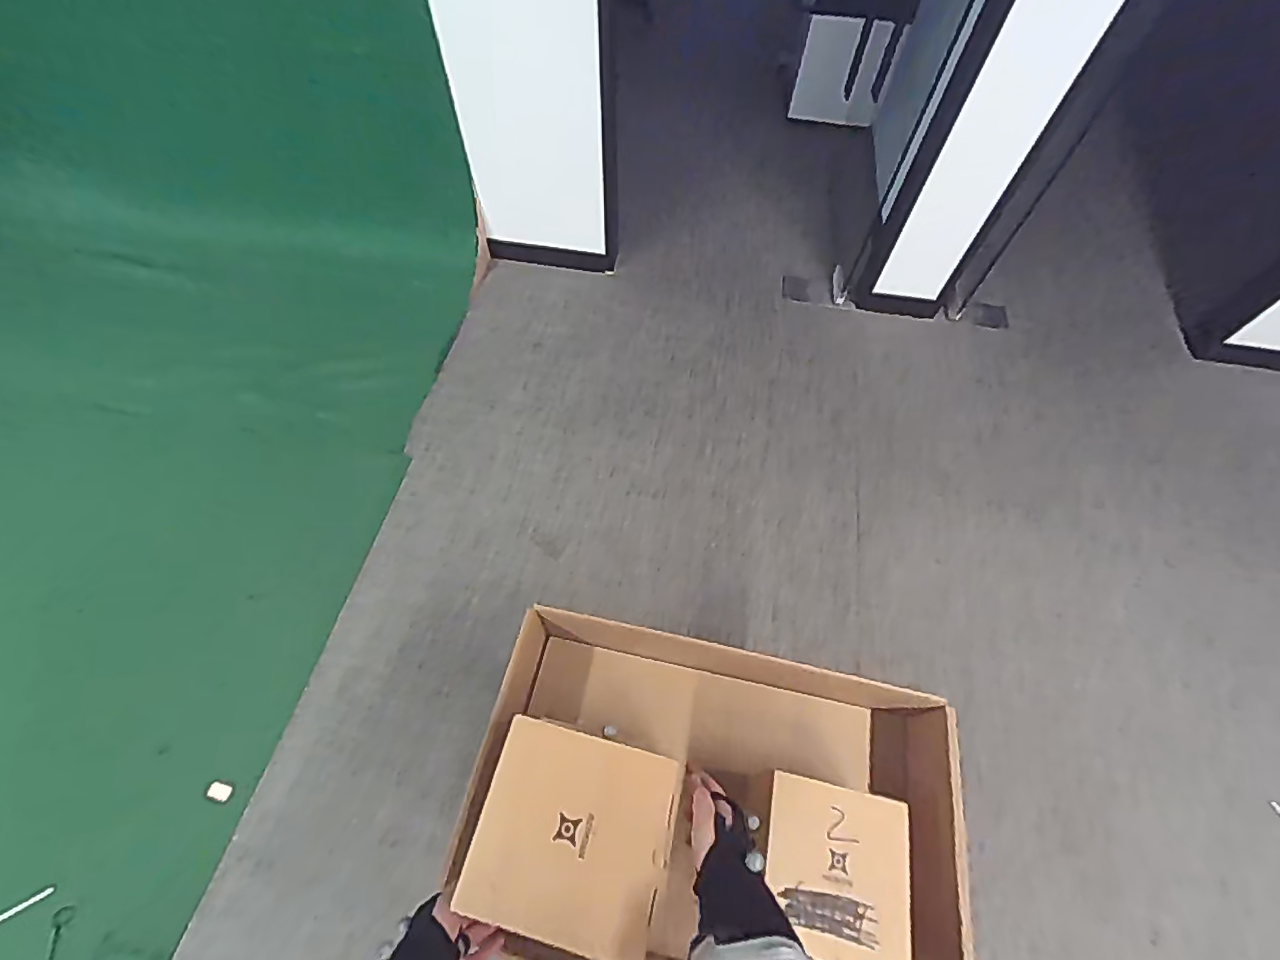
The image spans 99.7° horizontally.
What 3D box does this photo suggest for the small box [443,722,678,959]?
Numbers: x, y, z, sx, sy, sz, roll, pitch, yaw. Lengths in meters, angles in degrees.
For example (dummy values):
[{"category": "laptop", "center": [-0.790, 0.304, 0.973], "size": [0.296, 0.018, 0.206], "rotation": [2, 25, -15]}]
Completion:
[{"category": "small box", "center": [-0.069, 0.371, 0.563], "size": [0.179, 0.176, 0.168], "rotation": [14, 60, 5]}]
